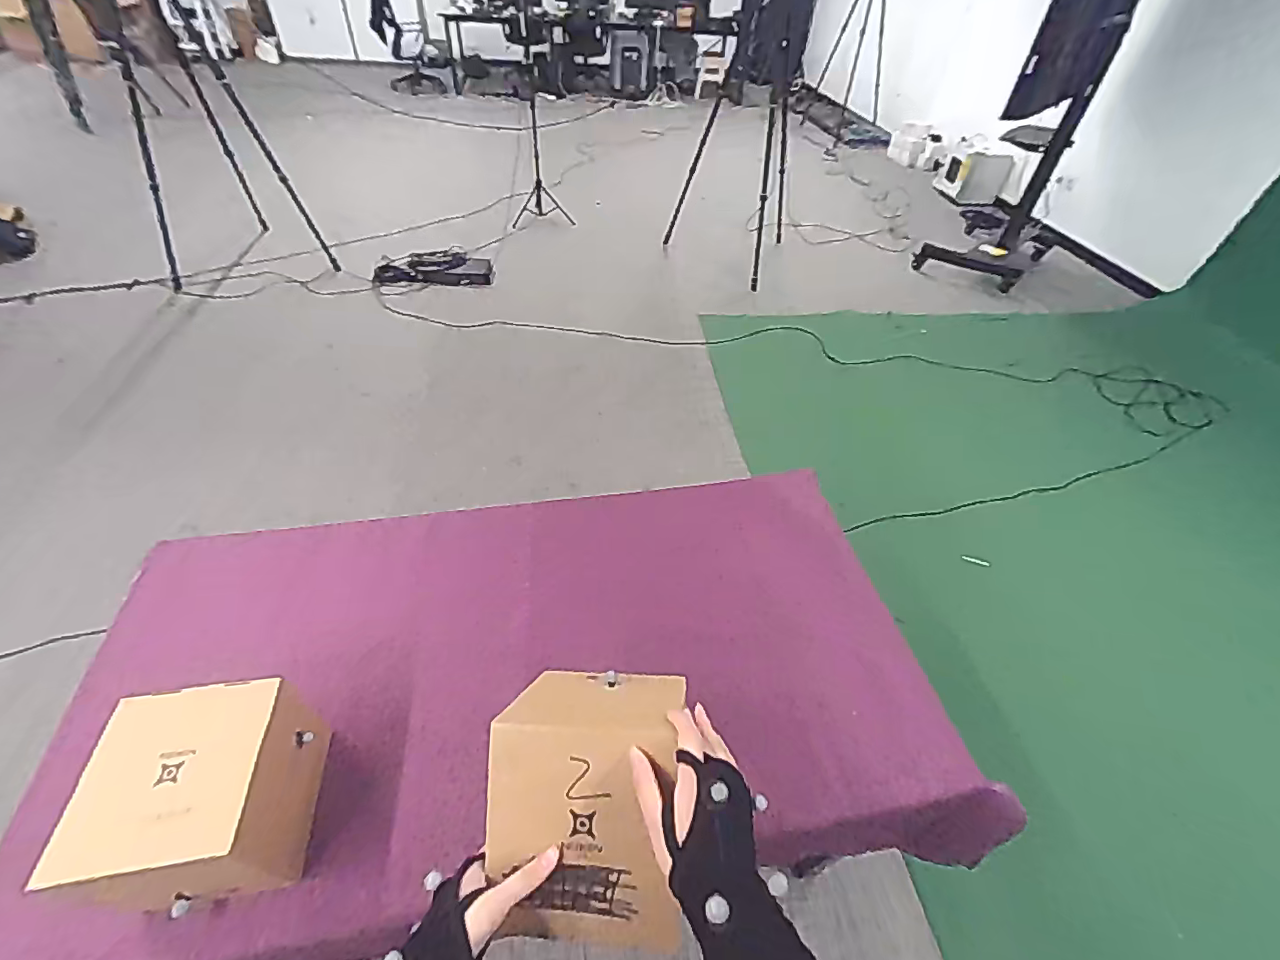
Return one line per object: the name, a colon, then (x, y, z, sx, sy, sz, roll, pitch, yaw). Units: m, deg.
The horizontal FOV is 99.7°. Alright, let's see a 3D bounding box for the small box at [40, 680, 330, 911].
small box: (-0.476, 0.354, 0.610, 0.168, 0.176, 0.179, -5, 46, -8)
